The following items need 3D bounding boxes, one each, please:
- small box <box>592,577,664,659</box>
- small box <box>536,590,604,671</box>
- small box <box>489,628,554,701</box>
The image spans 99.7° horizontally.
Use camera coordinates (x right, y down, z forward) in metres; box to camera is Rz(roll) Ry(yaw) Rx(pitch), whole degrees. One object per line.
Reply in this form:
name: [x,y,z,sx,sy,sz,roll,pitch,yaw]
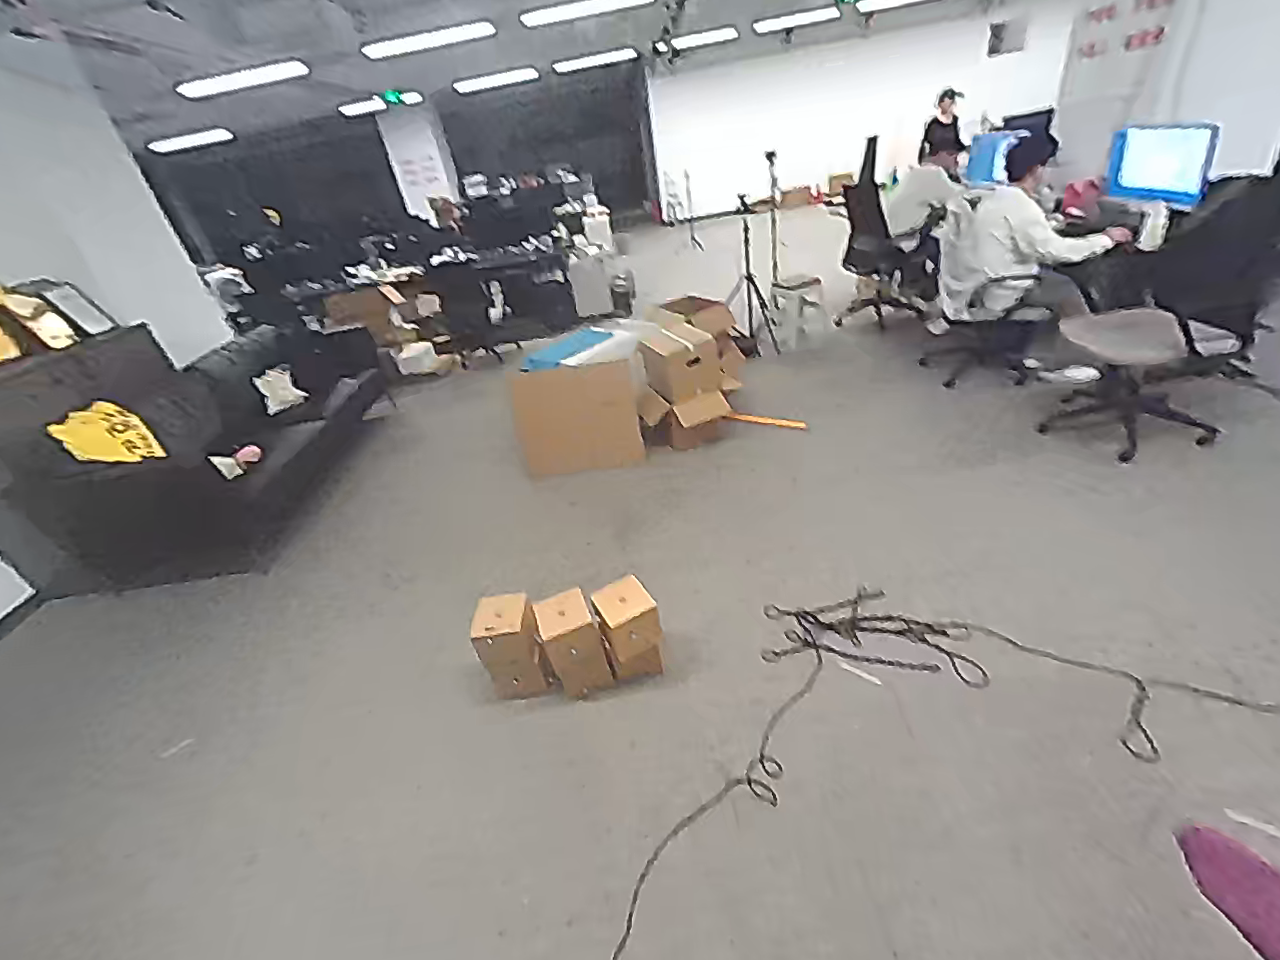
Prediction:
small box: [-0.036,0.458,1.774,0.168,0.176,0.179,-22,32,-18]
small box: [-0.229,0.499,1.776,0.168,0.176,0.179,-19,31,-11]
small box: [-0.407,0.651,1.902,0.179,0.176,0.168,-10,31,4]
